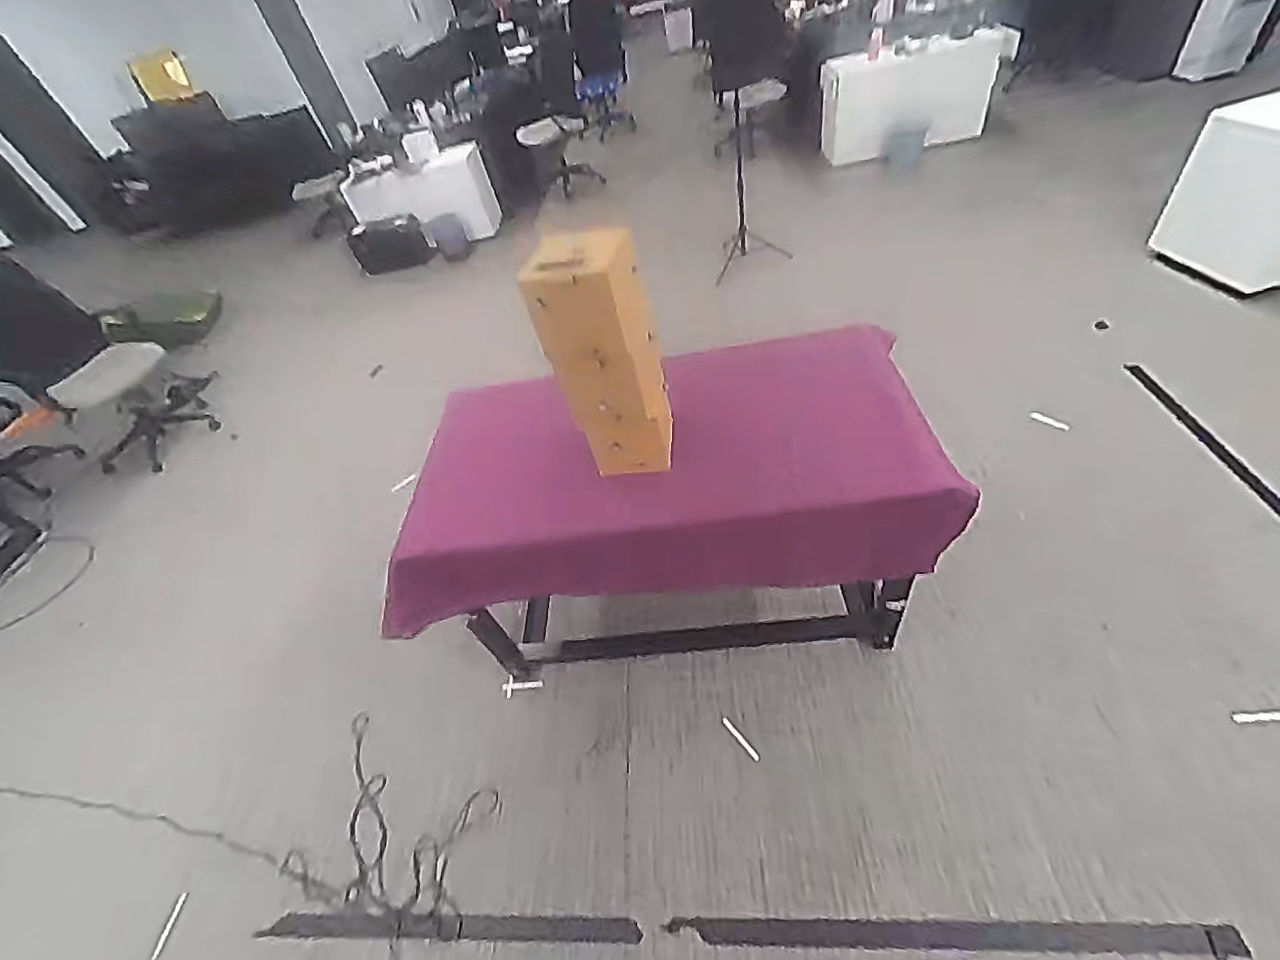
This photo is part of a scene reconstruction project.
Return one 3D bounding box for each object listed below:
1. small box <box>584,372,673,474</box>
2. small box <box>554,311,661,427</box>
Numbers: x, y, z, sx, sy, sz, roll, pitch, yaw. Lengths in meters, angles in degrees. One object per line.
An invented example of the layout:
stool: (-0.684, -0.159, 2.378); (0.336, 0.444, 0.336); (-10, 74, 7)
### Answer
small box: (-0.018, -0.127, 1.249); (0.168, 0.176, 0.179); (-5, 46, 11)
small box: (-0.056, -0.229, 1.126); (0.168, 0.176, 0.179); (0, 47, 16)
